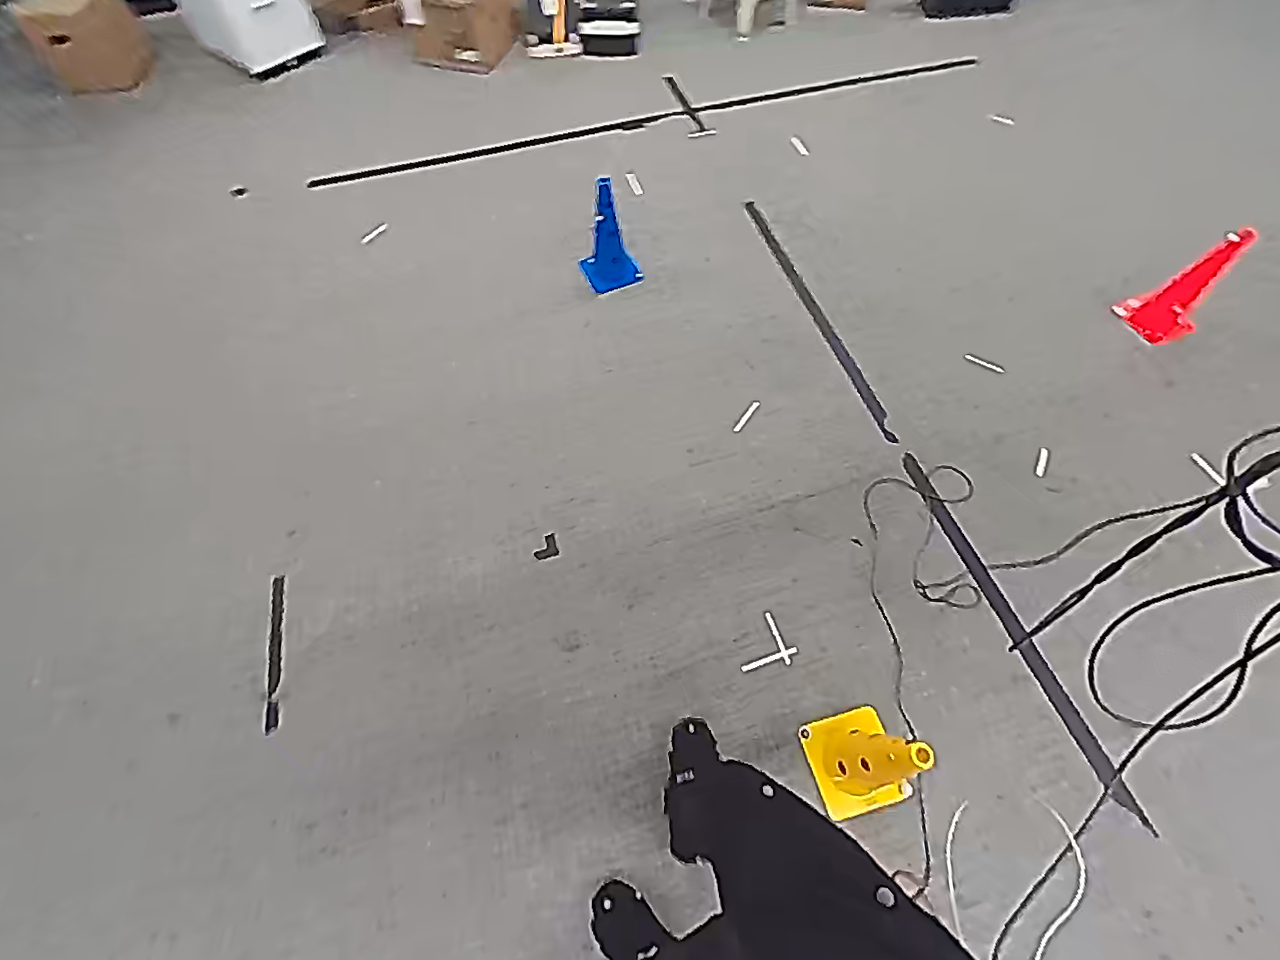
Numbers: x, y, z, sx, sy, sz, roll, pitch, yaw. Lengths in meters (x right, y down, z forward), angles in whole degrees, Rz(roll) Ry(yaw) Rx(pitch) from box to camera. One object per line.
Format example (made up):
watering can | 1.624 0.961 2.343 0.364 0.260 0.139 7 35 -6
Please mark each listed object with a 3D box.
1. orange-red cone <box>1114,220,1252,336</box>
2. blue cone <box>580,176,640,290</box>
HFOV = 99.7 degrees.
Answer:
orange-red cone | 1.823 -0.685 1.779 0.198 0.360 0.199 -20 61 -11
blue cone | -0.120 -0.881 1.911 0.192 0.380 0.193 -20 63 -11
